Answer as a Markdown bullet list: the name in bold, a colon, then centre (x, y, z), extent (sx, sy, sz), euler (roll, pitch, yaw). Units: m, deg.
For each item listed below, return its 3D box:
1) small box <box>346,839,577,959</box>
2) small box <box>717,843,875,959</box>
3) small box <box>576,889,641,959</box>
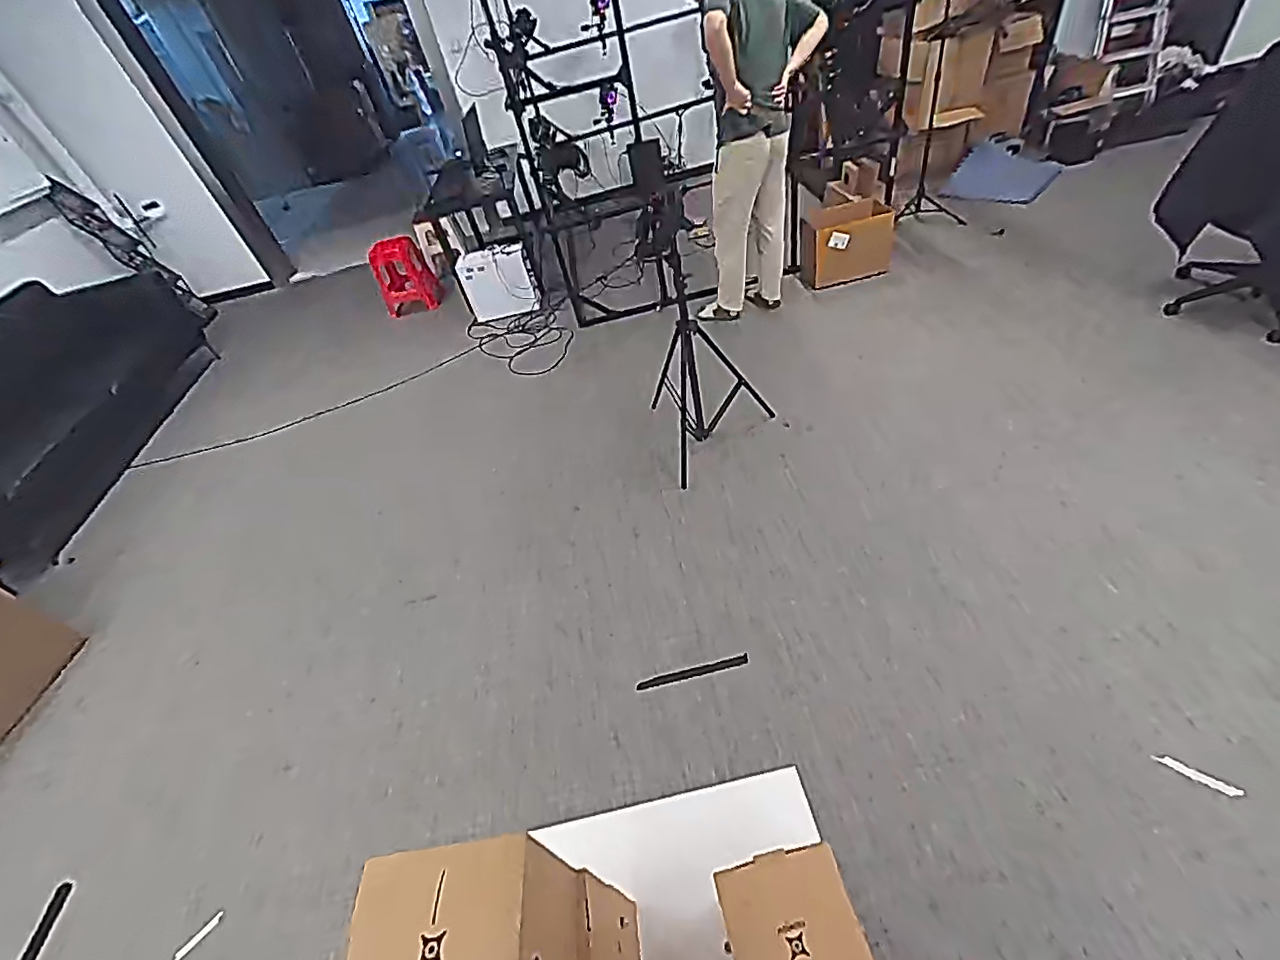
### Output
- **small box**: centre (-0.160, 0.472, 0.512), extent (0.168, 0.176, 0.179), euler (-12, 43, 4)
- **small box**: centre (0.211, 0.626, 0.723), extent (0.168, 0.176, 0.179), euler (-17, 43, 1)
- **small box**: centre (-0.089, 0.696, 0.742), extent (0.168, 0.176, 0.179), euler (-14, 43, 1)
